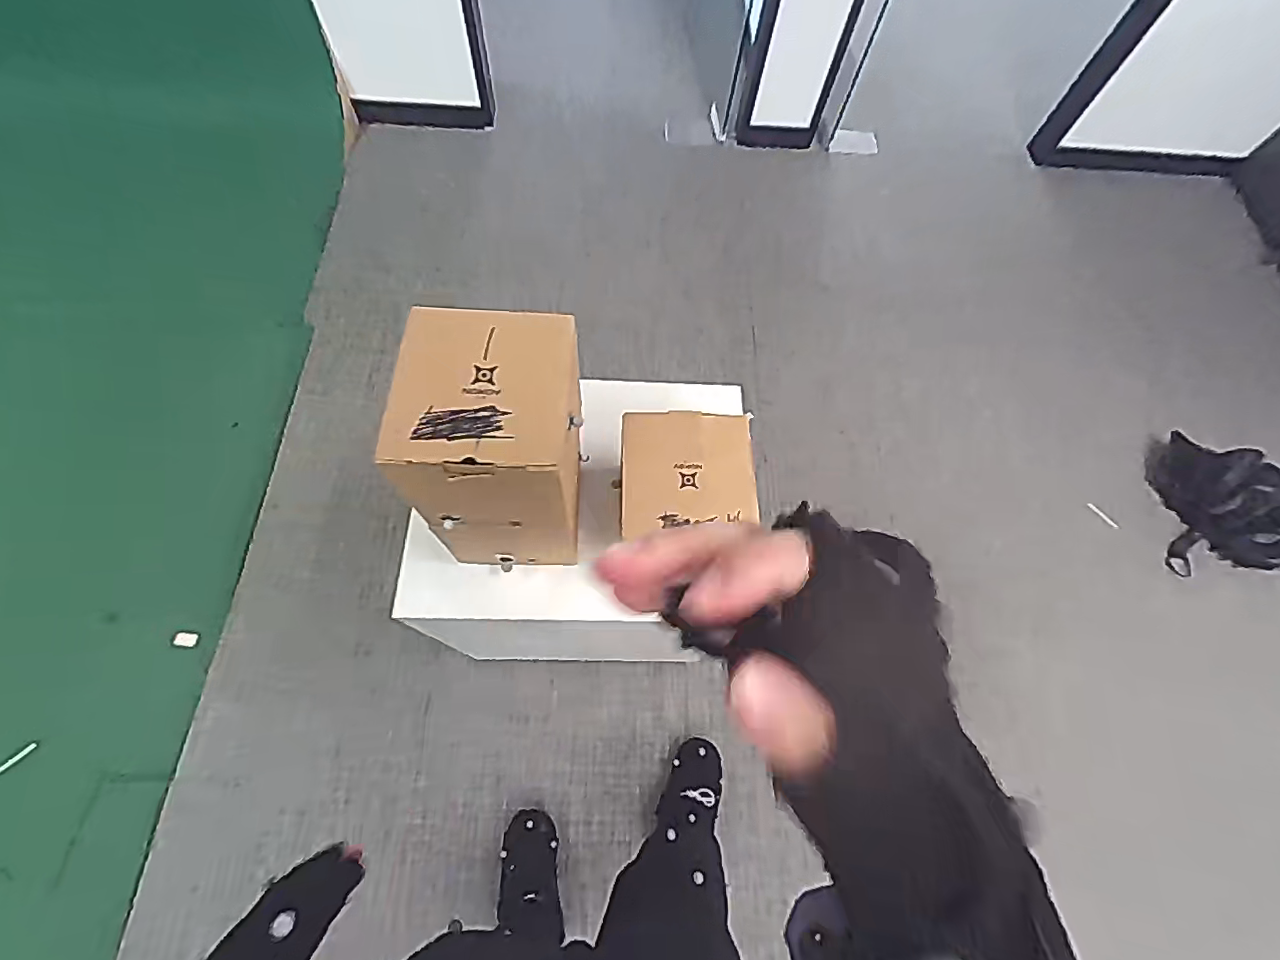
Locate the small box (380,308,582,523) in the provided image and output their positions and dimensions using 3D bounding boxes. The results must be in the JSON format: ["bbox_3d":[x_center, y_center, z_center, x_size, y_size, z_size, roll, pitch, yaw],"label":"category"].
[{"bbox_3d":[-0.154,-0.061,0.594,0.168,0.176,0.179,3,64,-2],"label":"small box"}]

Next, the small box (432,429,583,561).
[{"bbox_3d":[-0.164,0.002,0.728,0.168,0.176,0.179,0,67,-4],"label":"small box"}]

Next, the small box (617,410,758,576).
[{"bbox_3d":[0.055,0.023,0.748,0.168,0.176,0.179,2,65,-3],"label":"small box"}]
